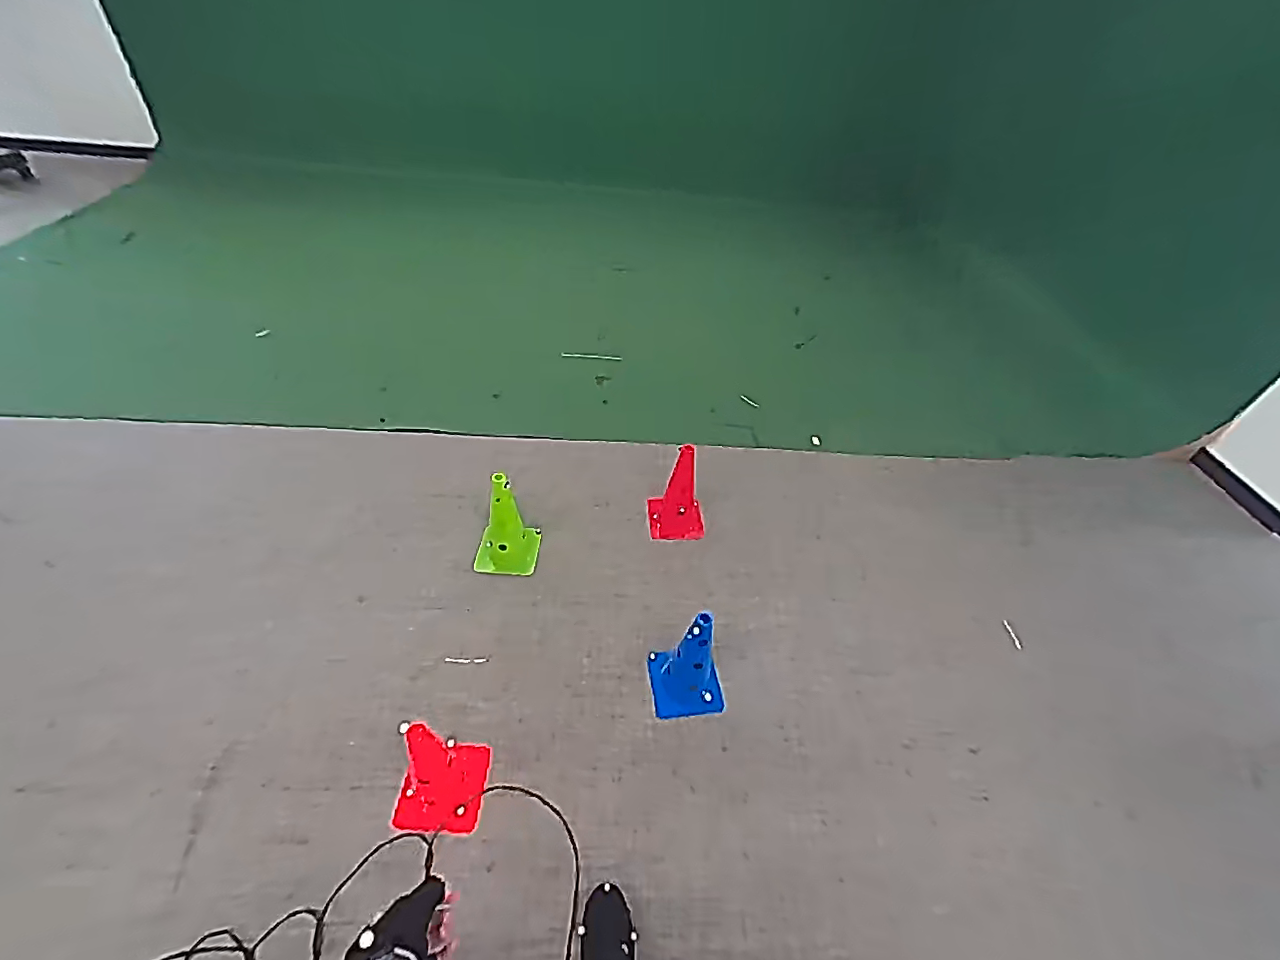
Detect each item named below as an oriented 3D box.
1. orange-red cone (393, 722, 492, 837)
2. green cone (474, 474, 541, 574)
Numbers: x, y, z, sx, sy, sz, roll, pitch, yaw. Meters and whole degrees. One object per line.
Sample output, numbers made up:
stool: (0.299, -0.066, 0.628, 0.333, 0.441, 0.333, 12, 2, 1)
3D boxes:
orange-red cone: (-0.462, 0.630, 1.209, 0.198, 0.360, 0.199, 6, 43, -2)
green cone: (-0.438, 0.116, 1.729, 0.200, 0.368, 0.202, 4, 45, -2)
